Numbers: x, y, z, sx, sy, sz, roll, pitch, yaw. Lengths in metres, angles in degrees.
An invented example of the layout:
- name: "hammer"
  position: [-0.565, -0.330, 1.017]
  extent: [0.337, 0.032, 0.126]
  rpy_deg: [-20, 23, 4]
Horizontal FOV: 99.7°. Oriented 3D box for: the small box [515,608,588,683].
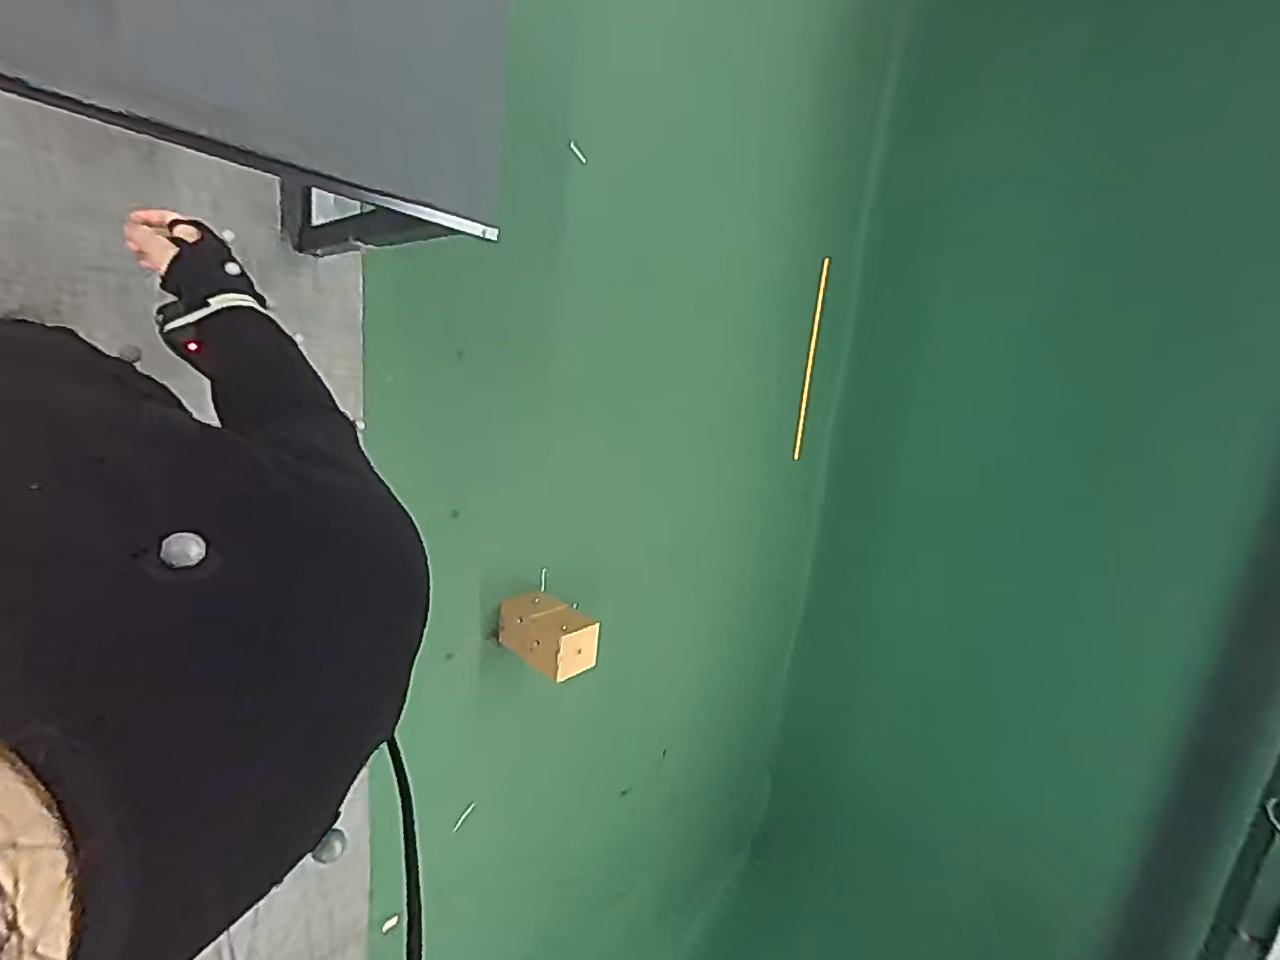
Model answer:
- name: "small box"
  position: [-0.303, 0.558, 1.848]
  extent: [0.179, 0.176, 0.168]
  rpy_deg: [-6, 107, -49]
